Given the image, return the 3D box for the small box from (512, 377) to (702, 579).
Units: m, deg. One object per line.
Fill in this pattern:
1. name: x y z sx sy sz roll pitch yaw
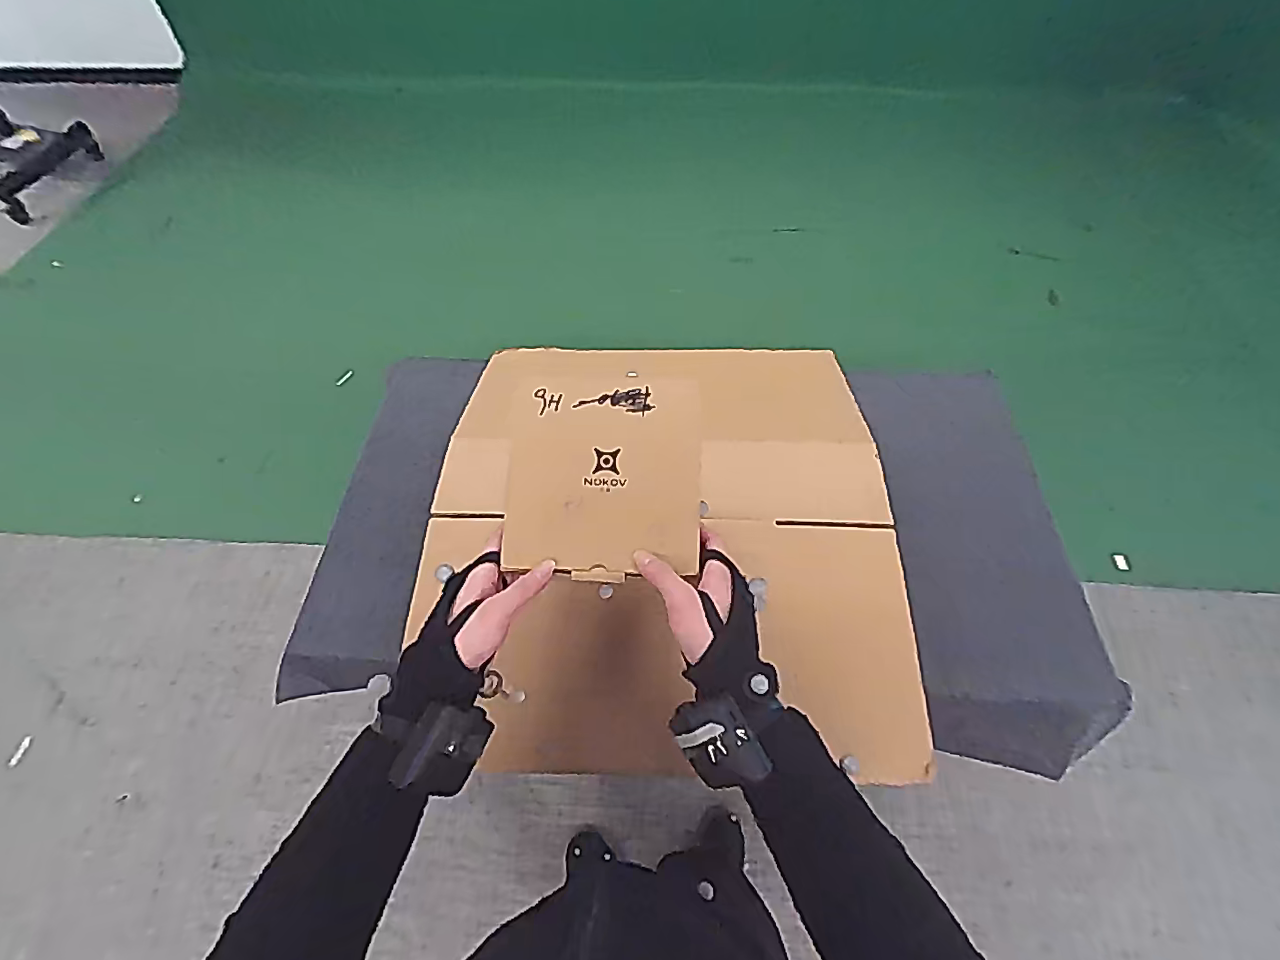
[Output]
1. small box: -0.023 0.010 0.550 0.168 0.176 0.179 0 76 2
